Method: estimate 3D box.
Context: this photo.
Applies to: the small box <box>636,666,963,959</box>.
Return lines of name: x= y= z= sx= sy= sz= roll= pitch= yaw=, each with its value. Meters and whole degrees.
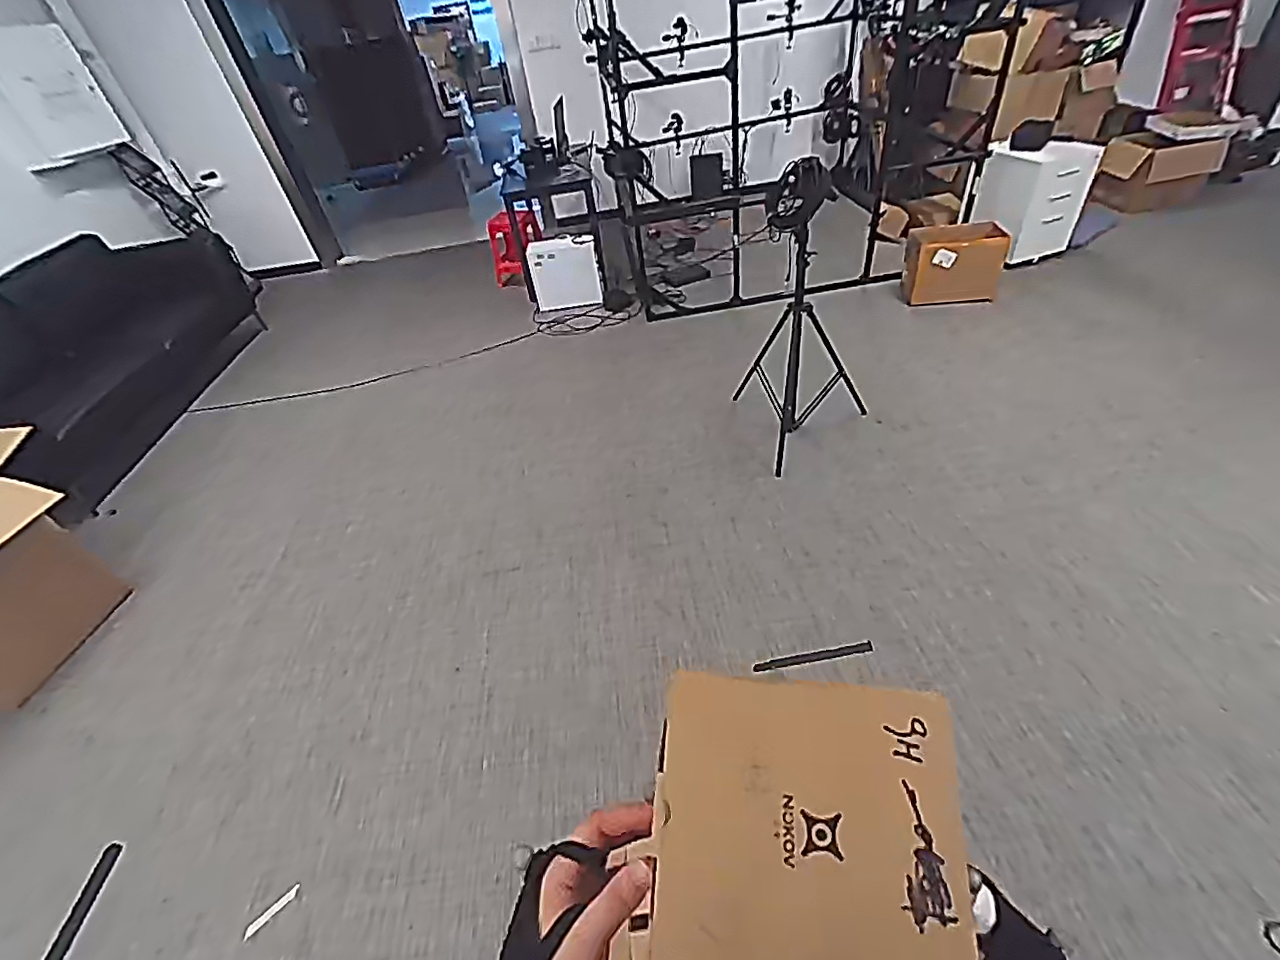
small box: x=0.100 y=0.237 z=0.392 sx=0.179 sy=0.176 sz=0.168 roll=2 pitch=66 yaw=7
